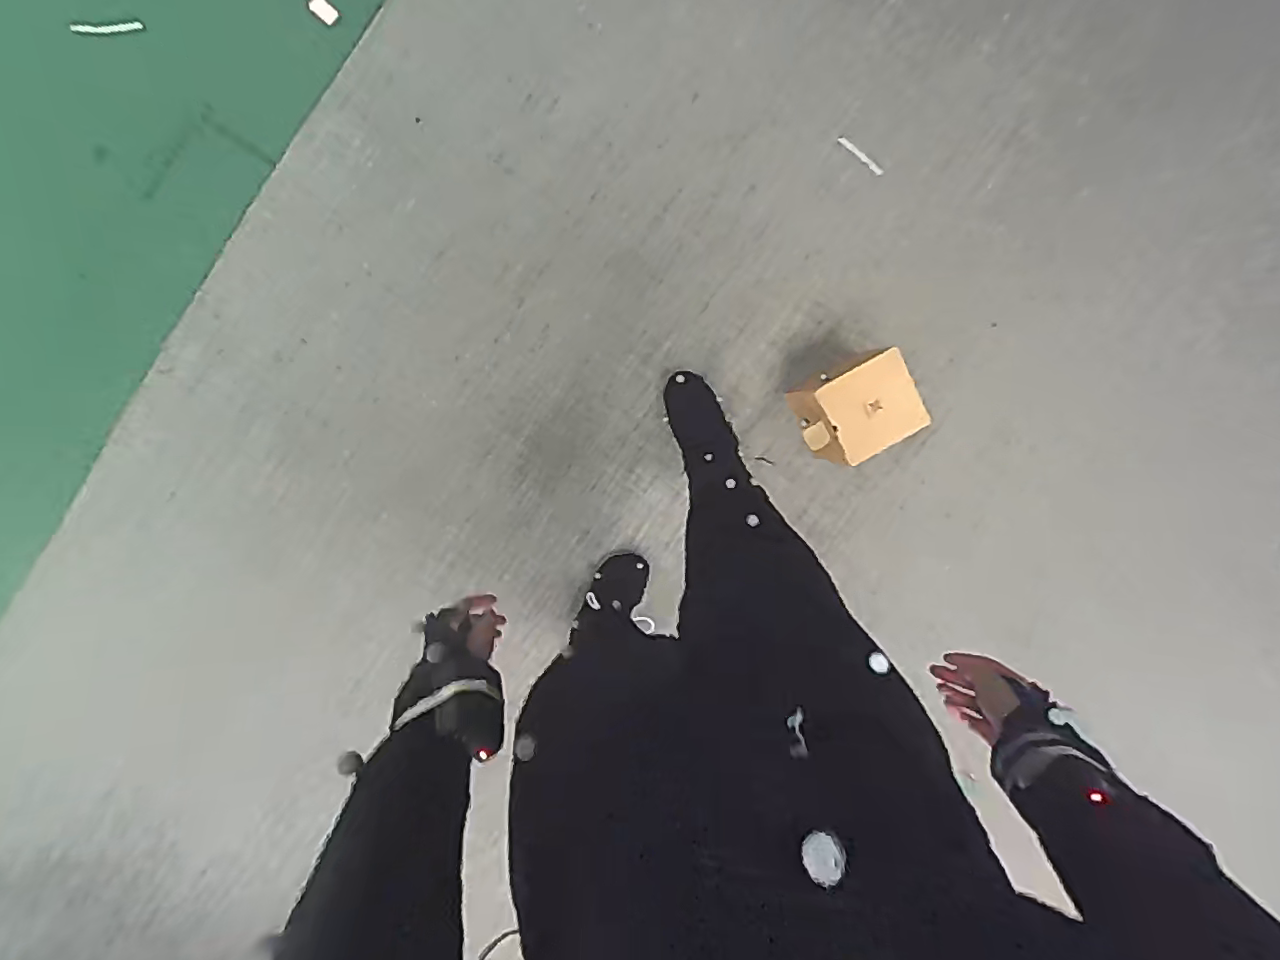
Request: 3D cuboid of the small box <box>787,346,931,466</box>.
[{"bbox_3d":[0.424,-0.149,1.071,0.179,0.176,0.168,-29,100,1],"label":"small box"}]
